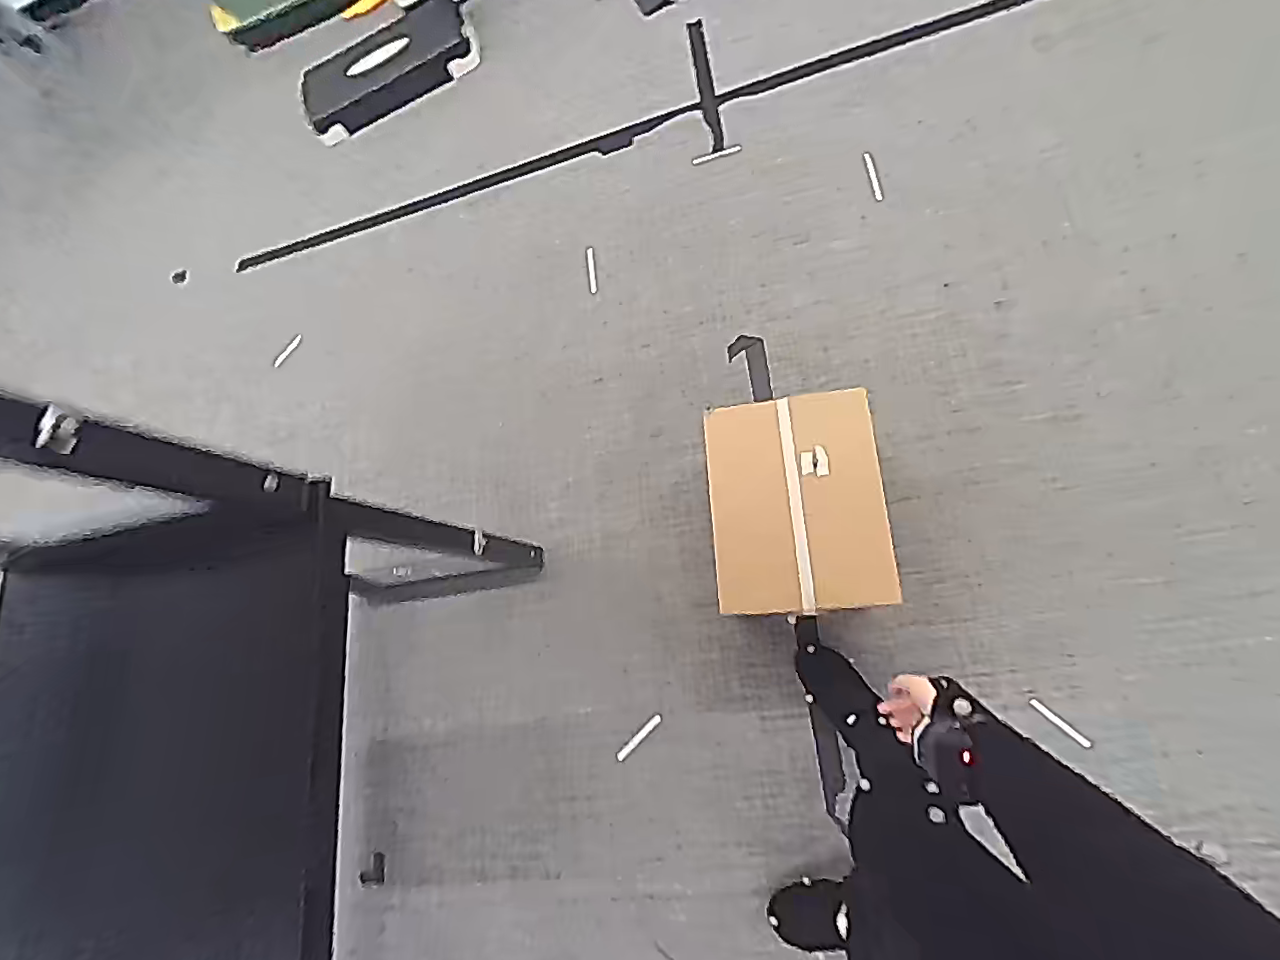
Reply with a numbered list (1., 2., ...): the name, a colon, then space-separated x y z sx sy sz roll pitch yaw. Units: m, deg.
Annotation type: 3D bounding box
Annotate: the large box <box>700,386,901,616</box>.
1. large box: 0.319 0.068 1.138 0.320 0.320 0.408 -7 74 12
